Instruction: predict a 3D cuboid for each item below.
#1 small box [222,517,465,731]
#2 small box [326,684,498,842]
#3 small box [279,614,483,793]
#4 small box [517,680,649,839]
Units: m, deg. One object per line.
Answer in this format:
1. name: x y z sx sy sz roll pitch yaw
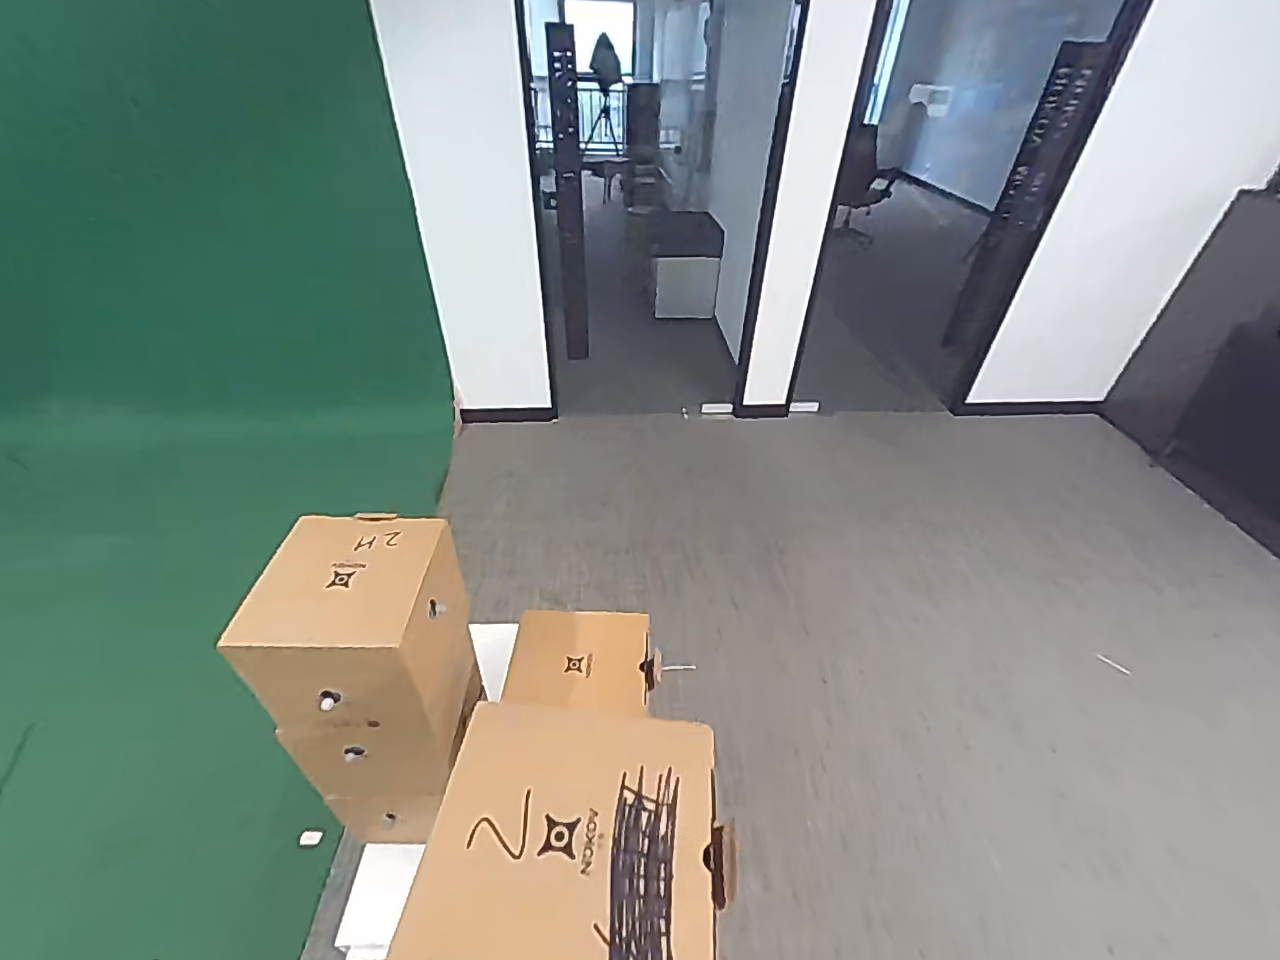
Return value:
1. small box: -0.305 0.162 0.608 0.168 0.176 0.179 2 39 -3
2. small box: -0.323 0.423 0.810 0.179 0.176 0.168 2 40 -3
3. small box: -0.318 0.292 0.709 0.179 0.176 0.168 2 39 -3
4. small box: -0.078 0.424 0.821 0.179 0.176 0.168 -1 38 -1
